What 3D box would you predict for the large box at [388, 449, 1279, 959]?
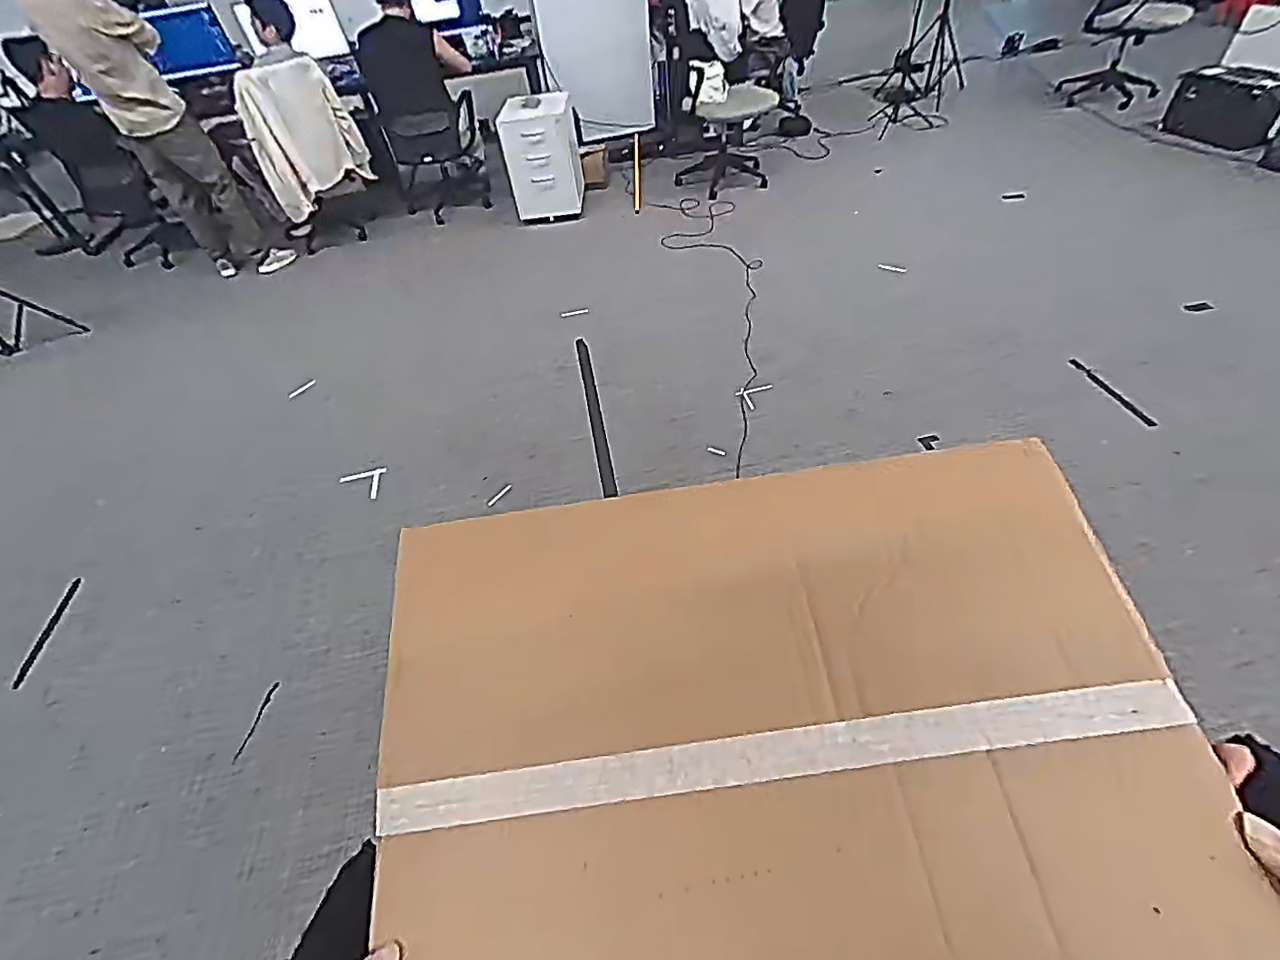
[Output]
[{"bbox_3d":[0.080,0.213,0.413,0.408,0.320,0.320,-9,63,1],"label":"large box"}]
